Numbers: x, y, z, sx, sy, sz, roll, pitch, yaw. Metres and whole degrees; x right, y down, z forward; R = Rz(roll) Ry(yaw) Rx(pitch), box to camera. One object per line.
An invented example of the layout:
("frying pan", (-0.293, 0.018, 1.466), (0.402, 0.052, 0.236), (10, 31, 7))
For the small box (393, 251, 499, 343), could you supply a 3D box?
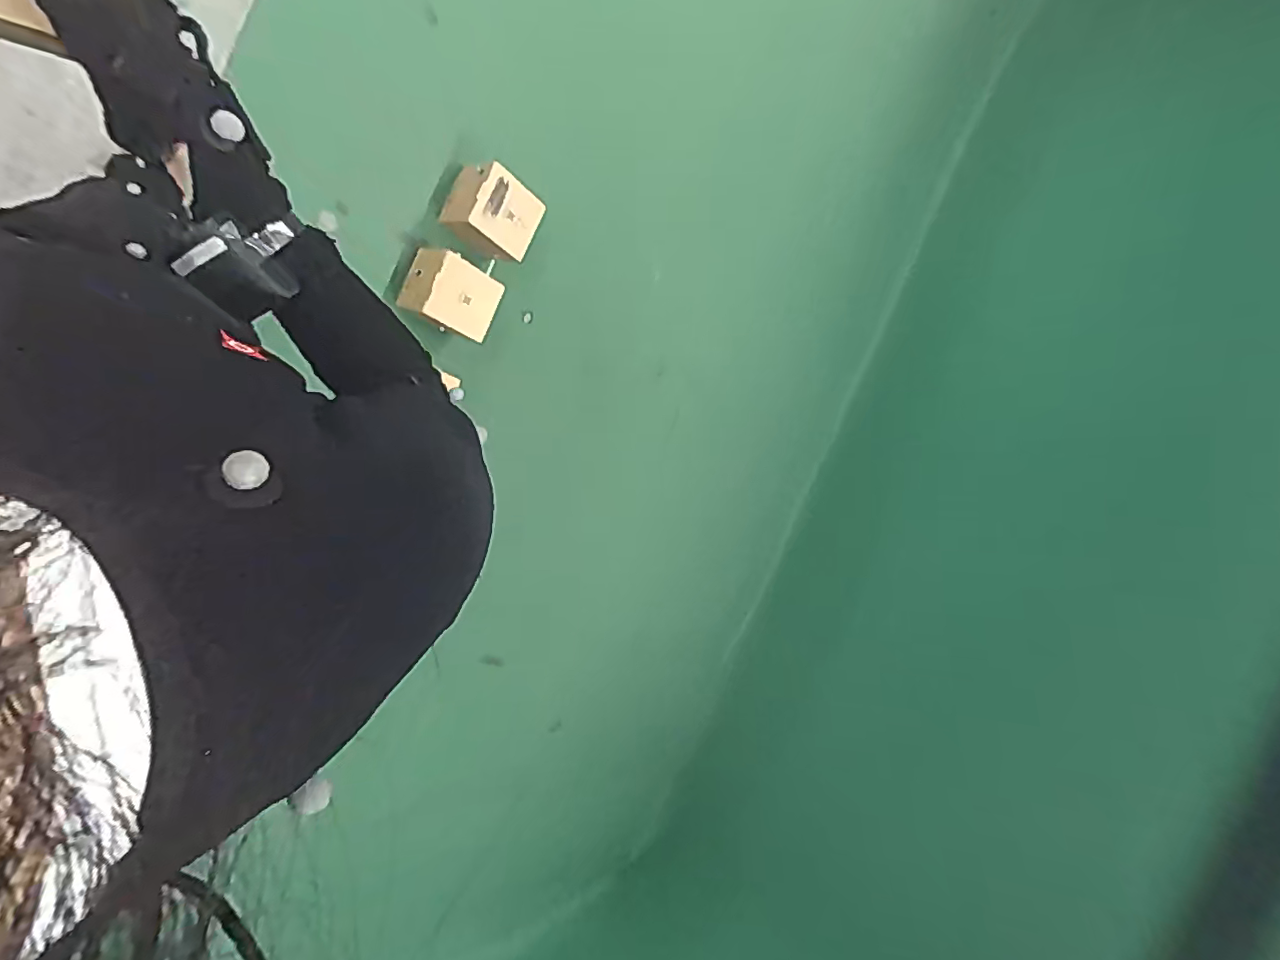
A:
("small box", (-0.512, -0.485, 1.424), (0.179, 0.176, 0.168), (23, 92, -48))
